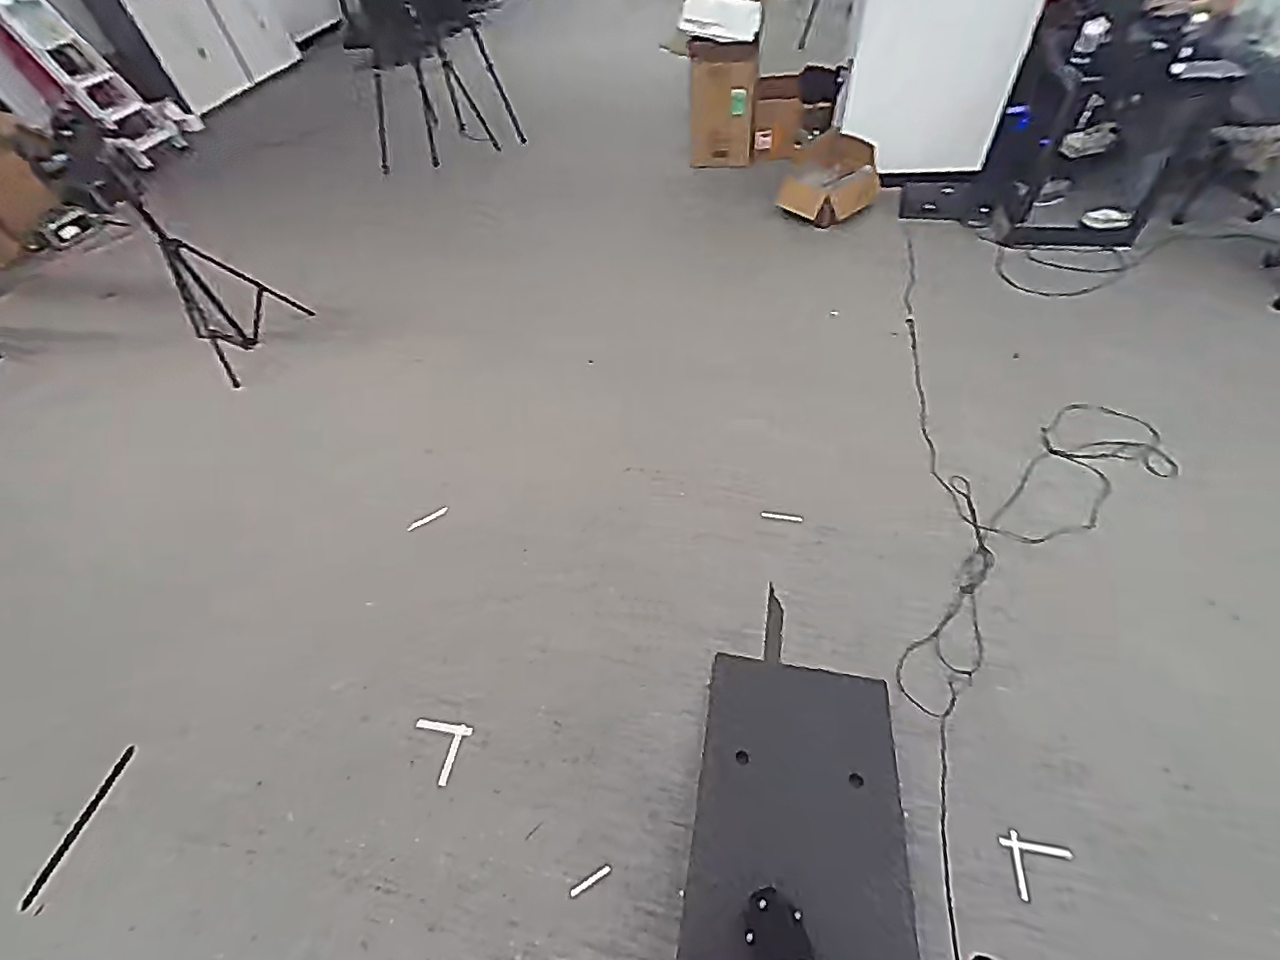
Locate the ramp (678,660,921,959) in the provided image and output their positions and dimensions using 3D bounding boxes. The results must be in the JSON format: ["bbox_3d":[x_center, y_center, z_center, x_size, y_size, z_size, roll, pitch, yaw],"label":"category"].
[{"bbox_3d":[0.359,0.894,1.235,0.509,0.206,0.991,3,52,11],"label":"ramp"}]
